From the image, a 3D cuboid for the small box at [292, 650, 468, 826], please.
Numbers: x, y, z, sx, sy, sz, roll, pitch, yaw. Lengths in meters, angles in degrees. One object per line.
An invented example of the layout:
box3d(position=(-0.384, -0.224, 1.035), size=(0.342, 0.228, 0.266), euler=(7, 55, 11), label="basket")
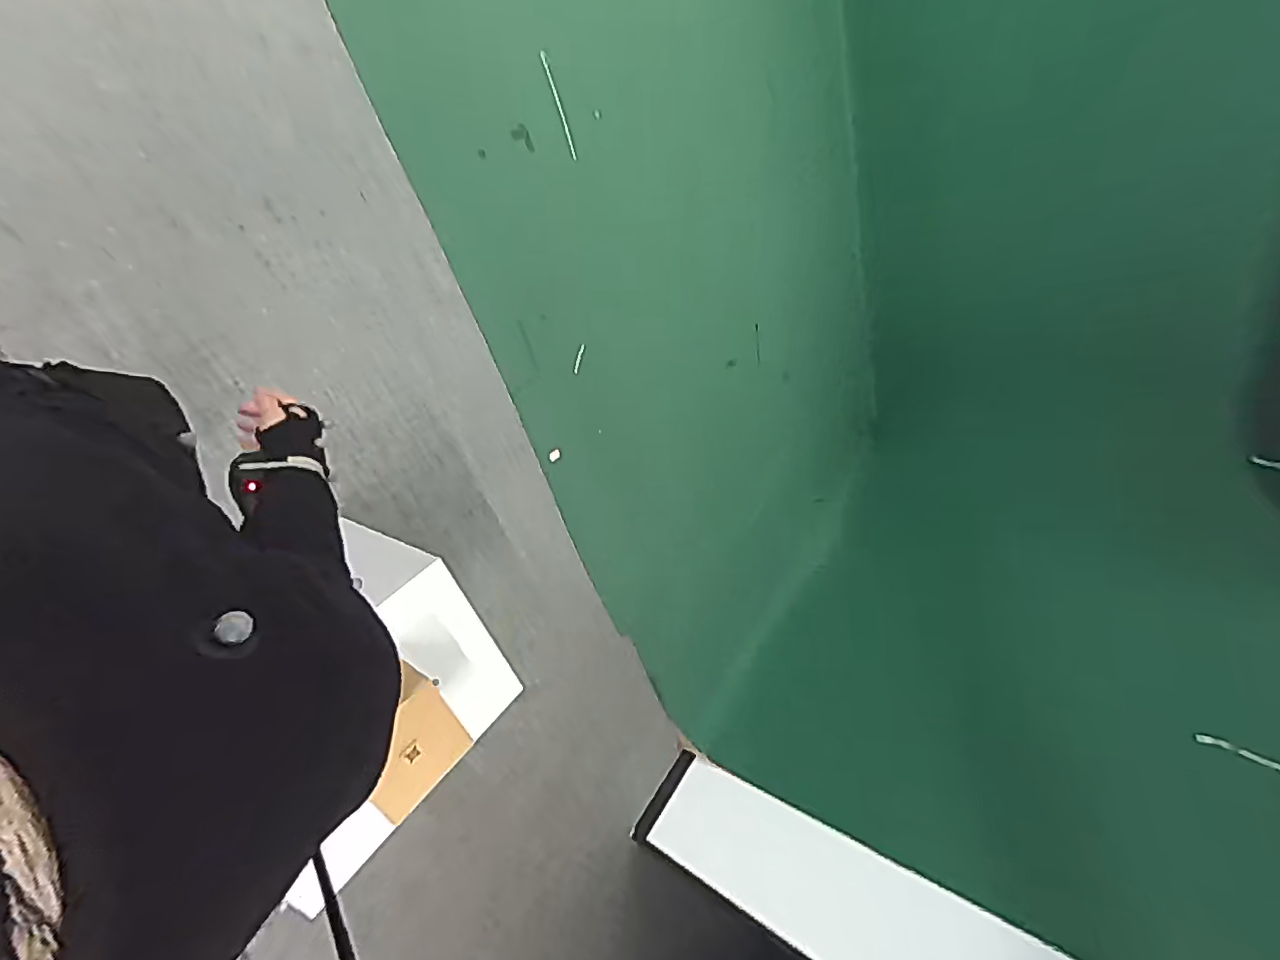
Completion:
box3d(position=(-0.426, 0.413, 0.892), size=(0.168, 0.176, 0.179), euler=(-44, 128, -36), label="small box")
